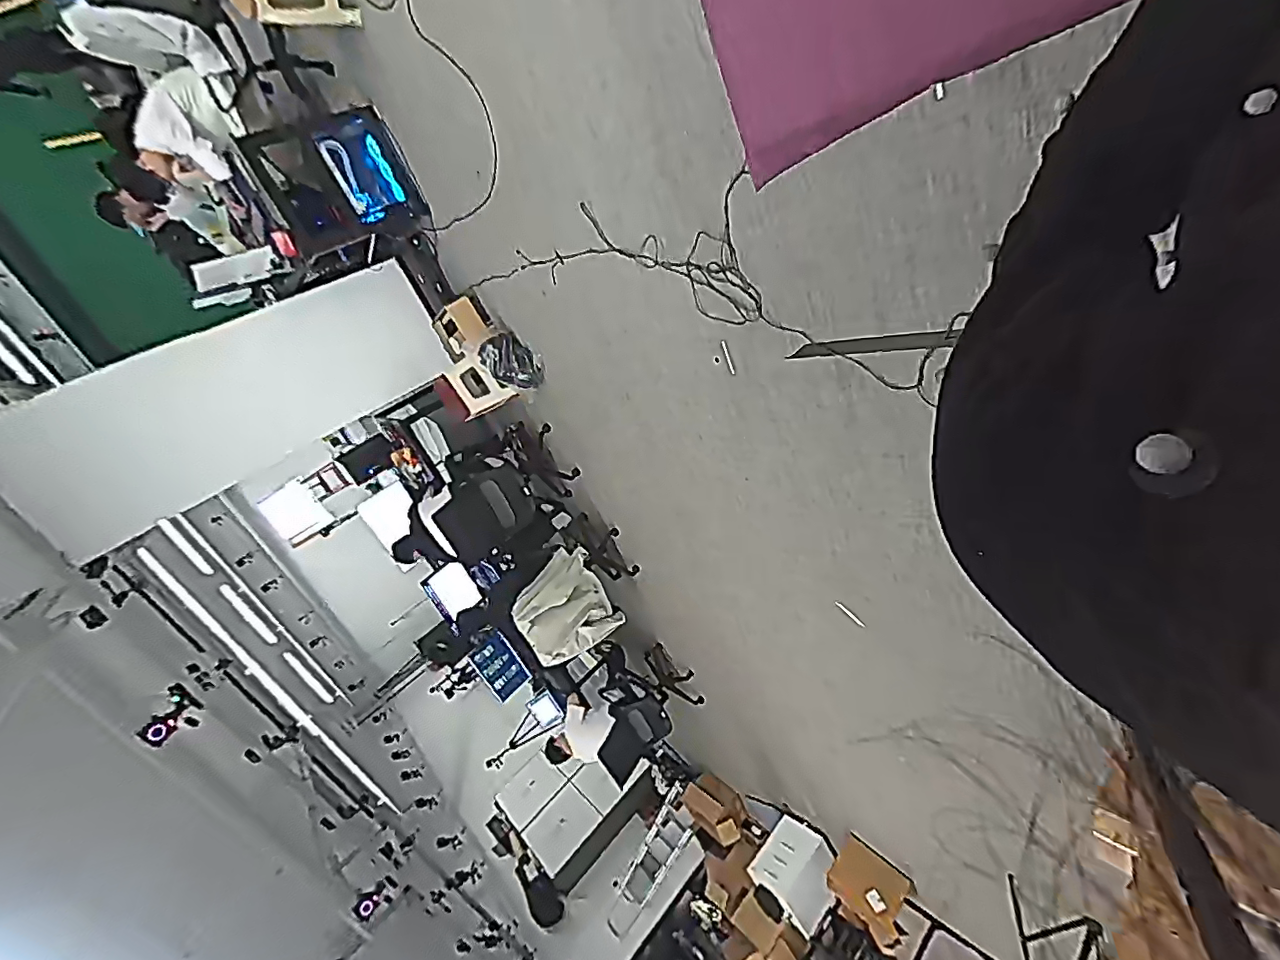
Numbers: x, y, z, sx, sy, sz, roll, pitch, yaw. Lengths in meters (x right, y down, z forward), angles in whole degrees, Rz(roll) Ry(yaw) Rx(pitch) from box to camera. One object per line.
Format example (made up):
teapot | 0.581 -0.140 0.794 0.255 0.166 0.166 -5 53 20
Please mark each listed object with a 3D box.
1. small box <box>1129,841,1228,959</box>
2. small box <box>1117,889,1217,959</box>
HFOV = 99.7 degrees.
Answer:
small box | 1.517 1.175 1.524 0.179 0.176 0.168 10 130 53
small box | 1.404 1.257 1.441 0.168 0.176 0.179 10 130 52
